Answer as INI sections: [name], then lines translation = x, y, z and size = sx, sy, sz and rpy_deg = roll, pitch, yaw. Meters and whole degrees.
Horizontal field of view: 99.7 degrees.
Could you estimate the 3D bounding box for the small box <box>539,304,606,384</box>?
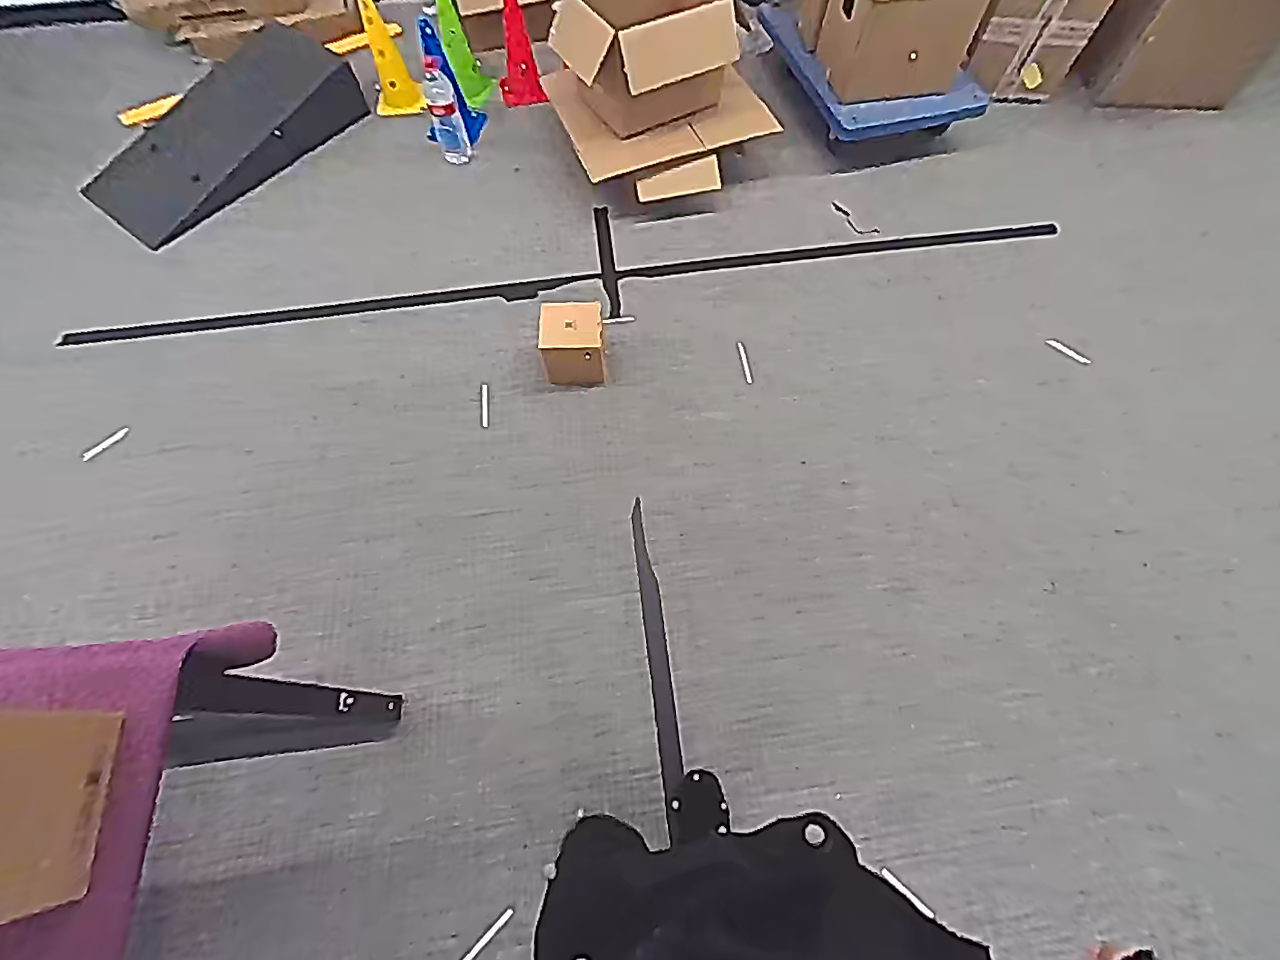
[small box]
translation = -0.194, -0.396, 1.595
size = 0.179, 0.176, 0.168
rpy_deg = -2, 65, -1
